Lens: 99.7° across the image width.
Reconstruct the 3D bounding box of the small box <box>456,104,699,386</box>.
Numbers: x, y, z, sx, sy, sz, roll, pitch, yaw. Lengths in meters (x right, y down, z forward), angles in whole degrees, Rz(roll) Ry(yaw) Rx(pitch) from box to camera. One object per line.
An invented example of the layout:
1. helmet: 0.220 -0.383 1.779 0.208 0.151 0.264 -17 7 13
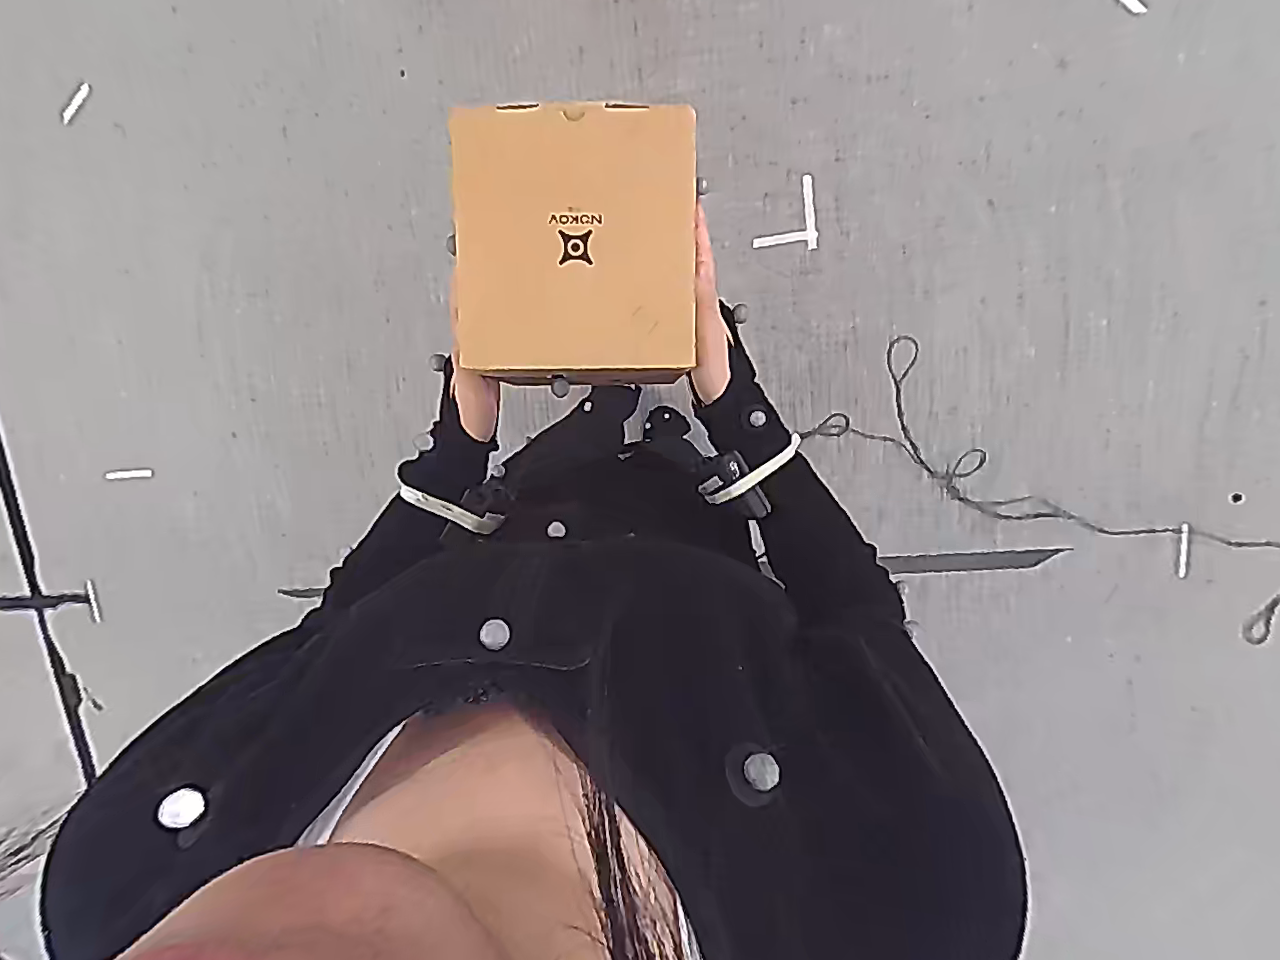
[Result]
1. small box: -0.043 -0.171 0.448 0.168 0.176 0.179 0 95 -1
